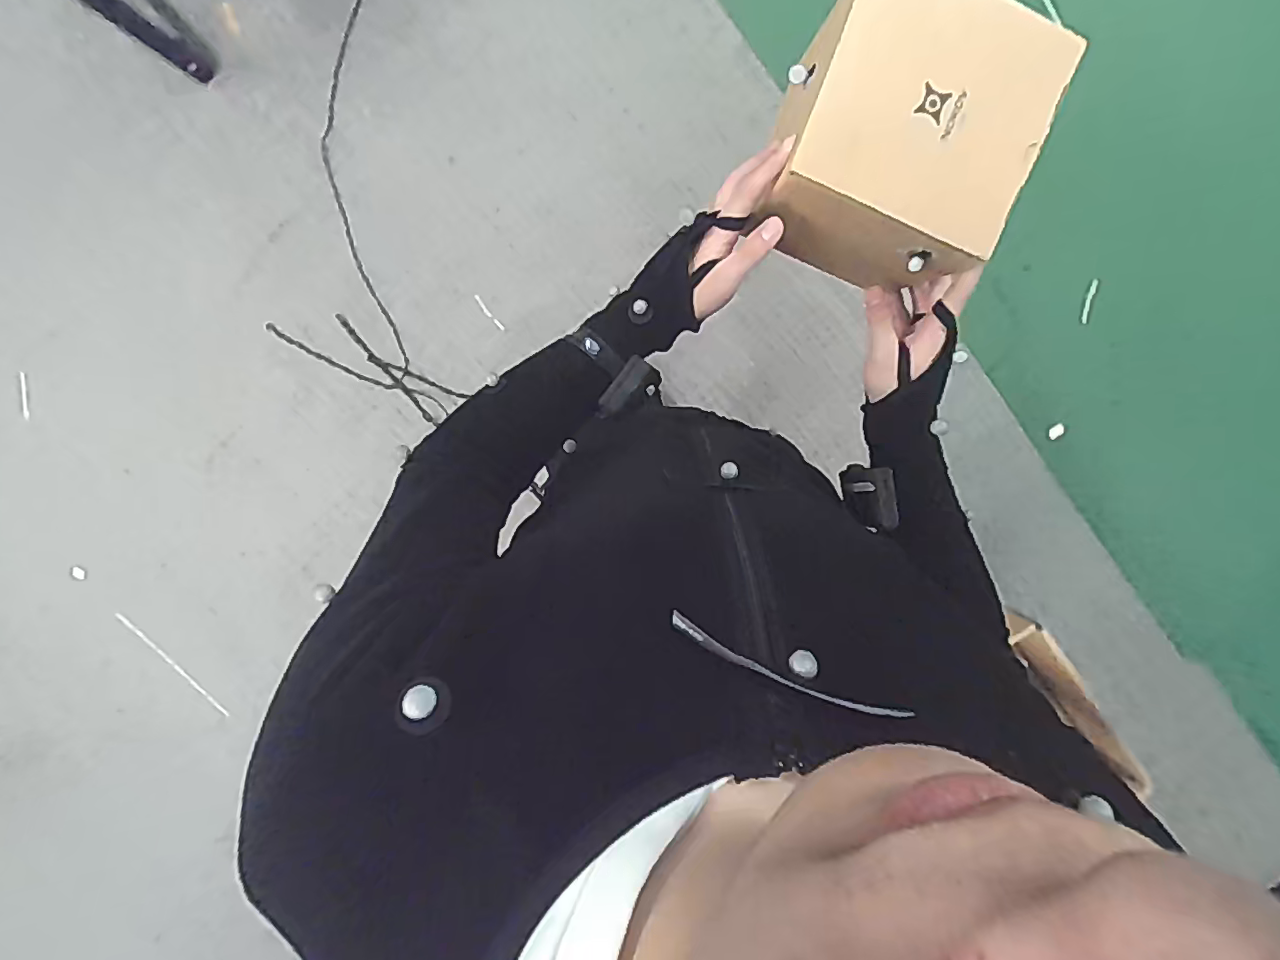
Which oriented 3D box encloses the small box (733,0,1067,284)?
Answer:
[{"bbox_3d":[0.200,-0.288,0.474,0.179,0.176,0.168,19,99,-7],"label":"small box"}]
